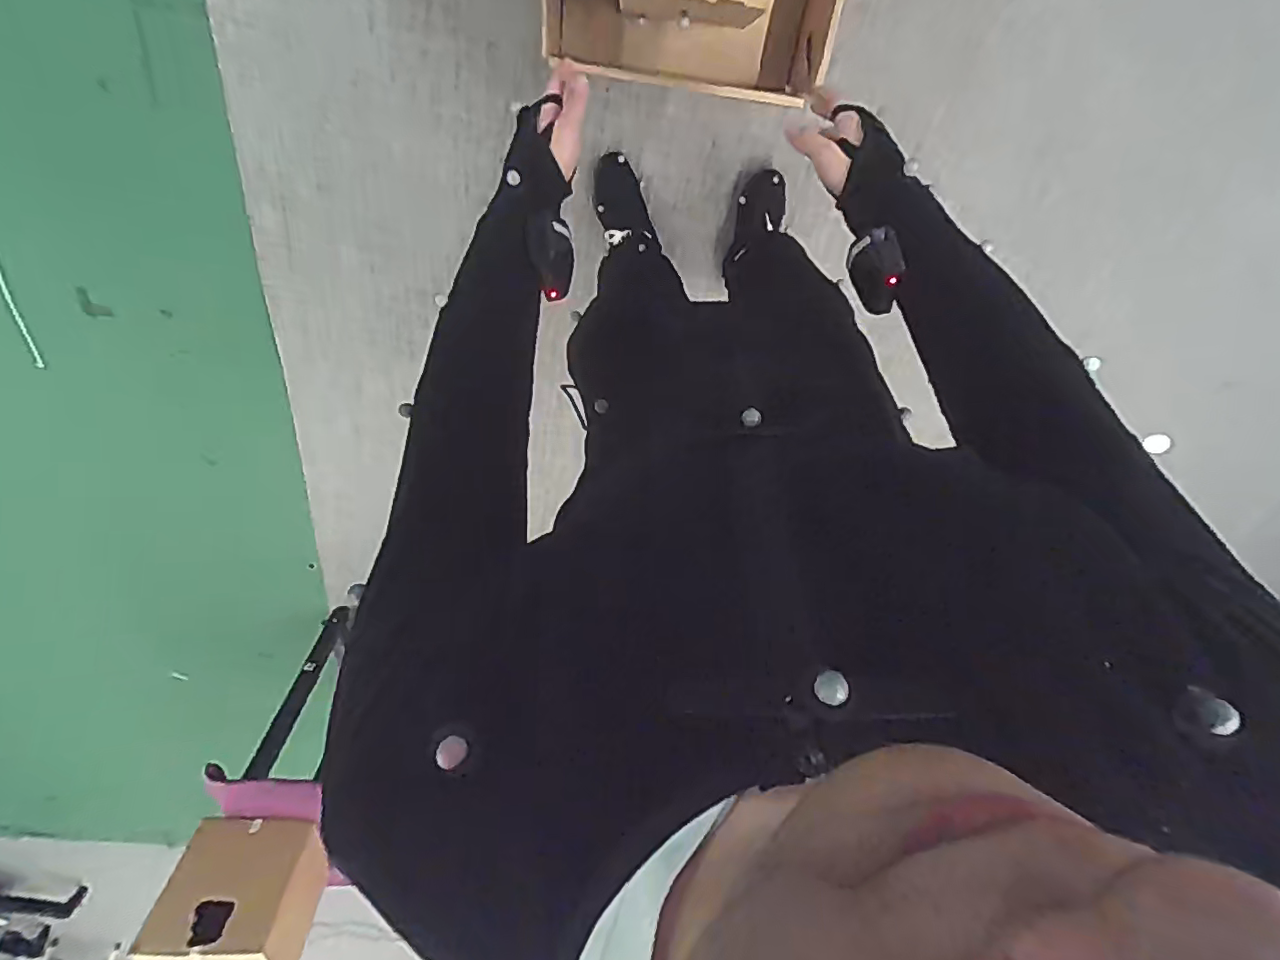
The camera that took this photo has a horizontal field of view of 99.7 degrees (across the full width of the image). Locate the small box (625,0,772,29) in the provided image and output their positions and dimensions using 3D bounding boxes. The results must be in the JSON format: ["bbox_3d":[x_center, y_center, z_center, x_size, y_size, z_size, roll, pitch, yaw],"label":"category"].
[{"bbox_3d":[0.067,-0.620,0.581,0.168,0.176,0.179,6,124,-5],"label":"small box"}]

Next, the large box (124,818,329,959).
[{"bbox_3d":[-1.142,1.235,1.557,0.320,0.320,0.408,7,124,-9],"label":"large box"}]
